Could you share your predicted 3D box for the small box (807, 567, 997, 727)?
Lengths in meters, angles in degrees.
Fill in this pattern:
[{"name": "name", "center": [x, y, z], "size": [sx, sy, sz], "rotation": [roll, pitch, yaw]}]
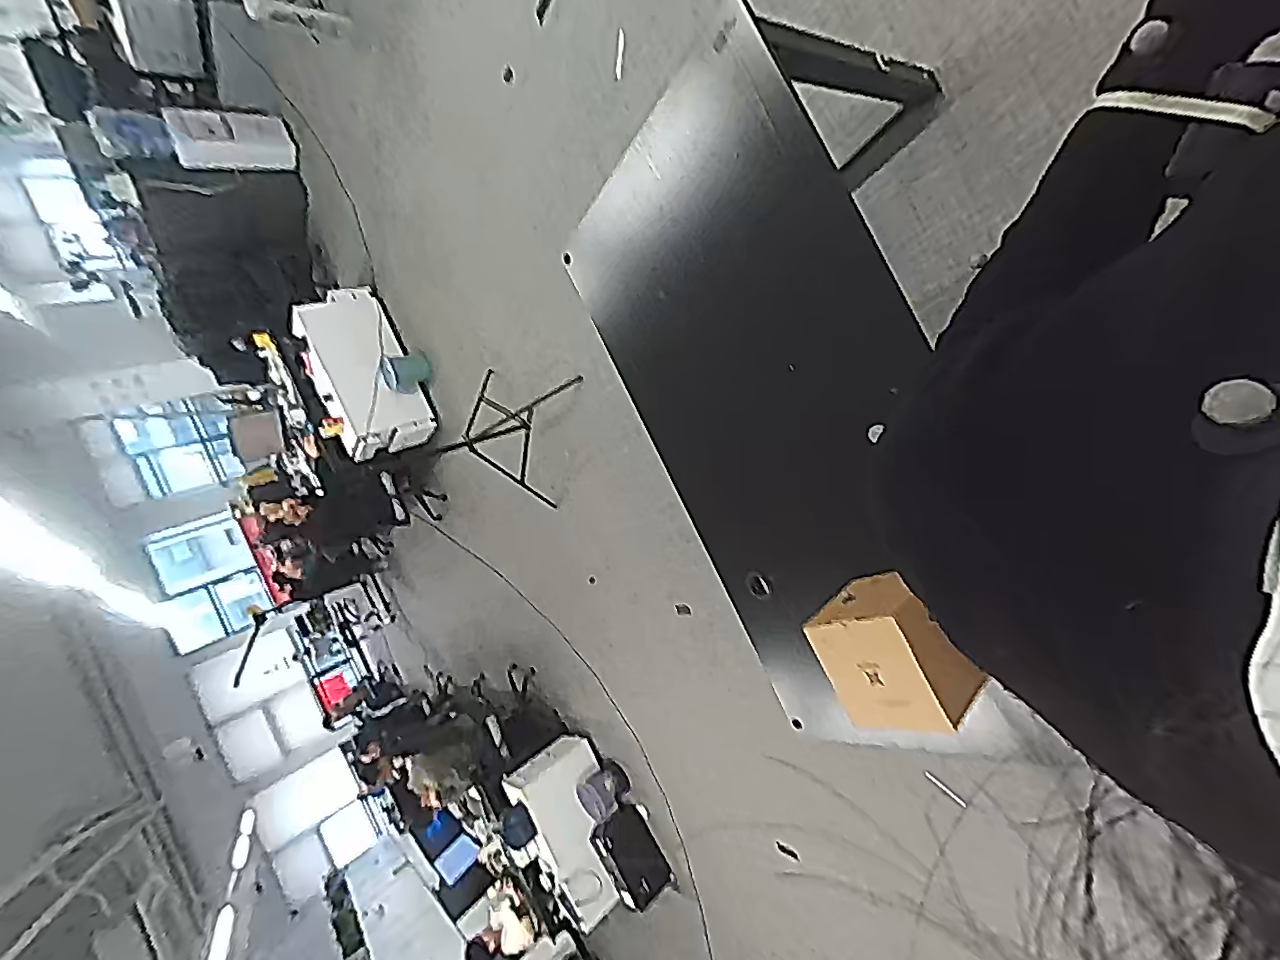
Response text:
[{"name": "small box", "center": [0.400, 0.247, 0.828], "size": [0.168, 0.176, 0.179], "rotation": [-34, 83, 54]}]
